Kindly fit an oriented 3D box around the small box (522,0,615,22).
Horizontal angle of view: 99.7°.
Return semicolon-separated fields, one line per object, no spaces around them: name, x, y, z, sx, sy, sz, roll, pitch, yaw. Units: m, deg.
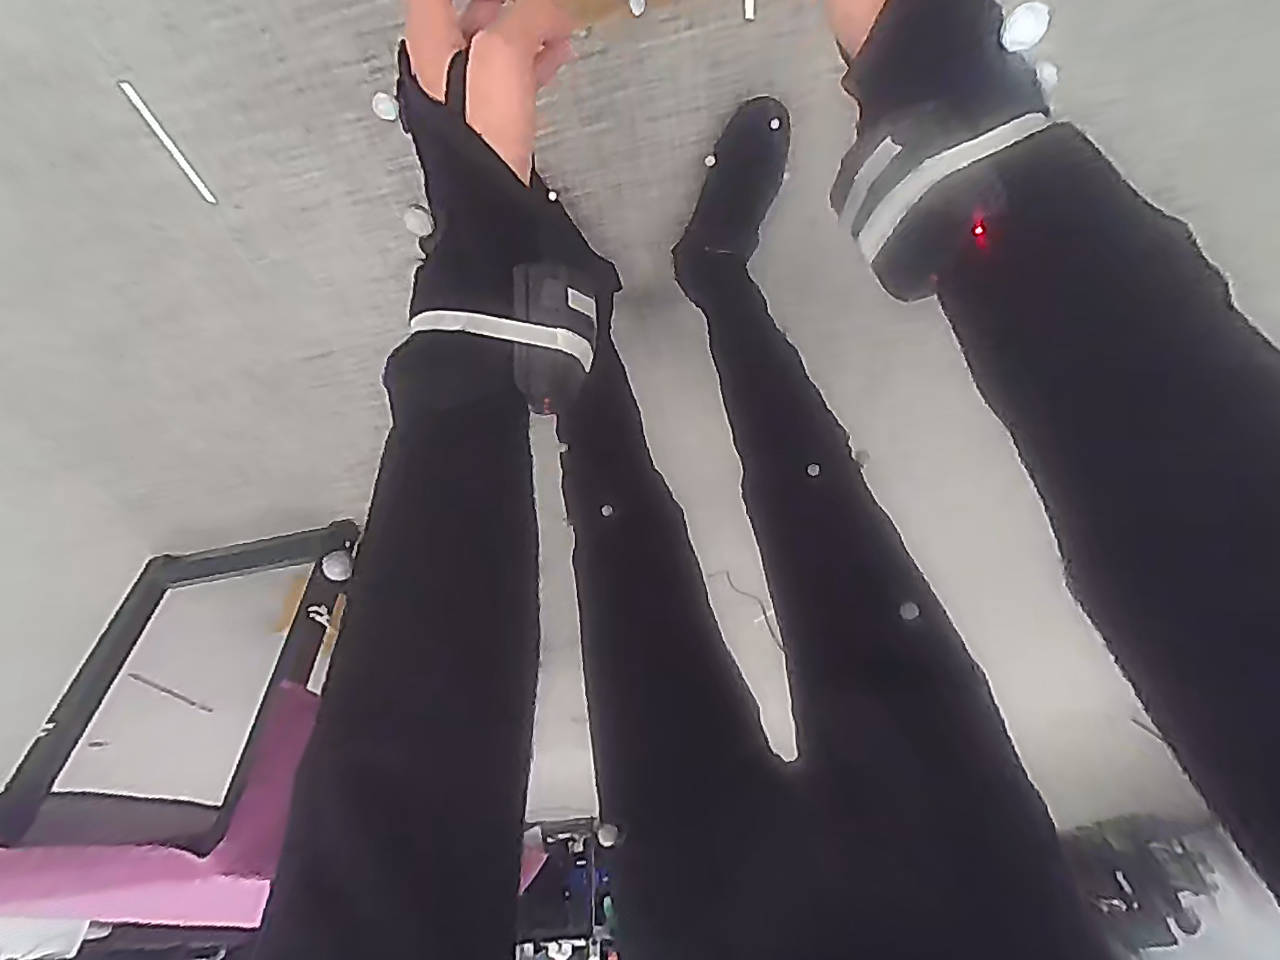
small box;-0.020;-0.367;0.266;0.168;0.176;0.179;-13;124;7

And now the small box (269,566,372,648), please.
small box;-0.904;0.358;1.547;0.168;0.176;0.179;-9;140;5
